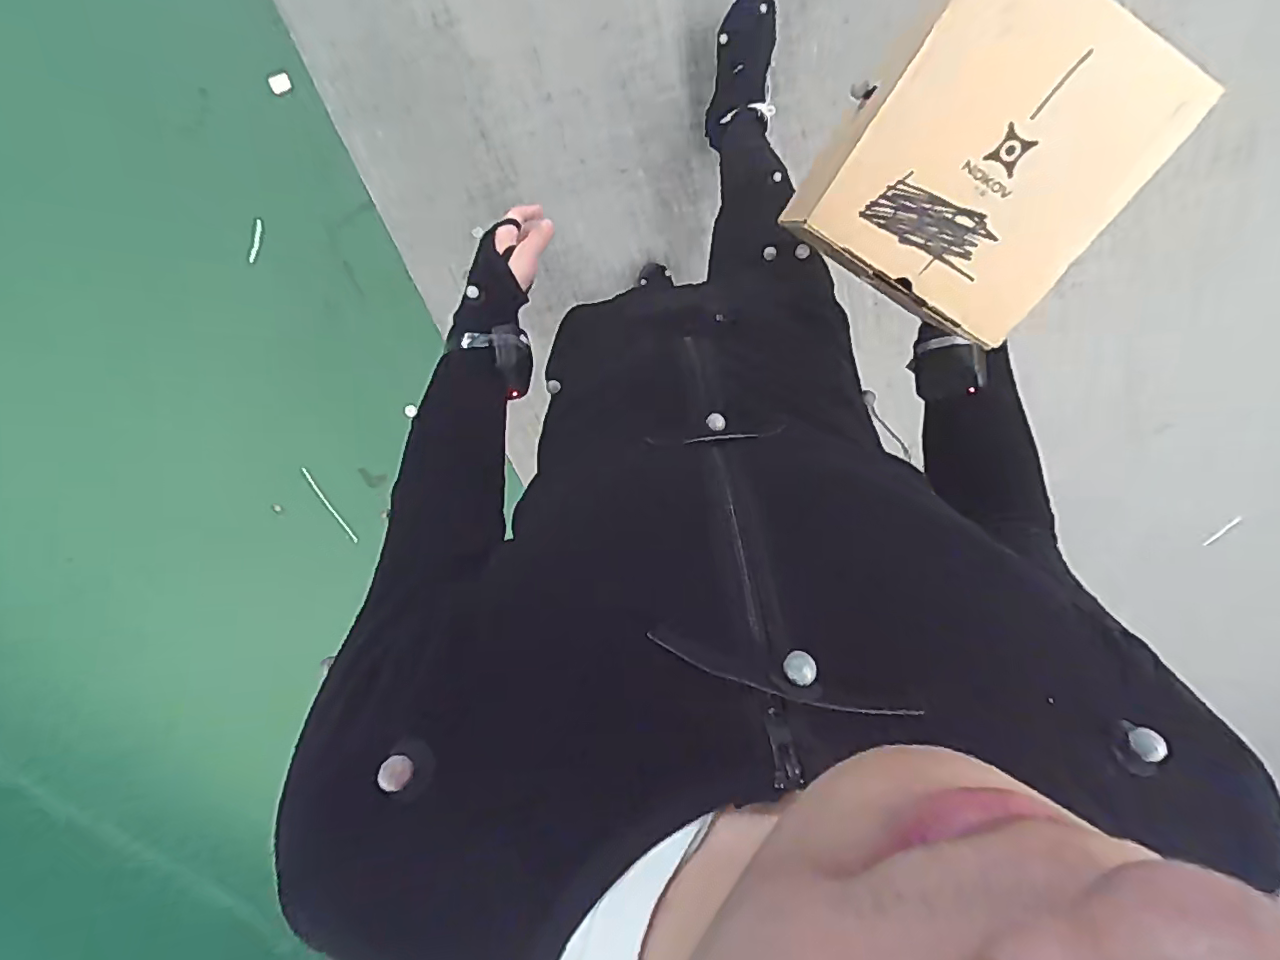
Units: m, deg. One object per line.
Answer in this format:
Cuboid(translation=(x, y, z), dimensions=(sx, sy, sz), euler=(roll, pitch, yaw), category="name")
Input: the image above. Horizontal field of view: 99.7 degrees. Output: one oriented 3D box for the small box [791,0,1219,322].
Cuboid(translation=(0.232, -0.247, 0.407), dimensions=(0.168, 0.176, 0.179), euler=(29, 115, -6), category="small box")
